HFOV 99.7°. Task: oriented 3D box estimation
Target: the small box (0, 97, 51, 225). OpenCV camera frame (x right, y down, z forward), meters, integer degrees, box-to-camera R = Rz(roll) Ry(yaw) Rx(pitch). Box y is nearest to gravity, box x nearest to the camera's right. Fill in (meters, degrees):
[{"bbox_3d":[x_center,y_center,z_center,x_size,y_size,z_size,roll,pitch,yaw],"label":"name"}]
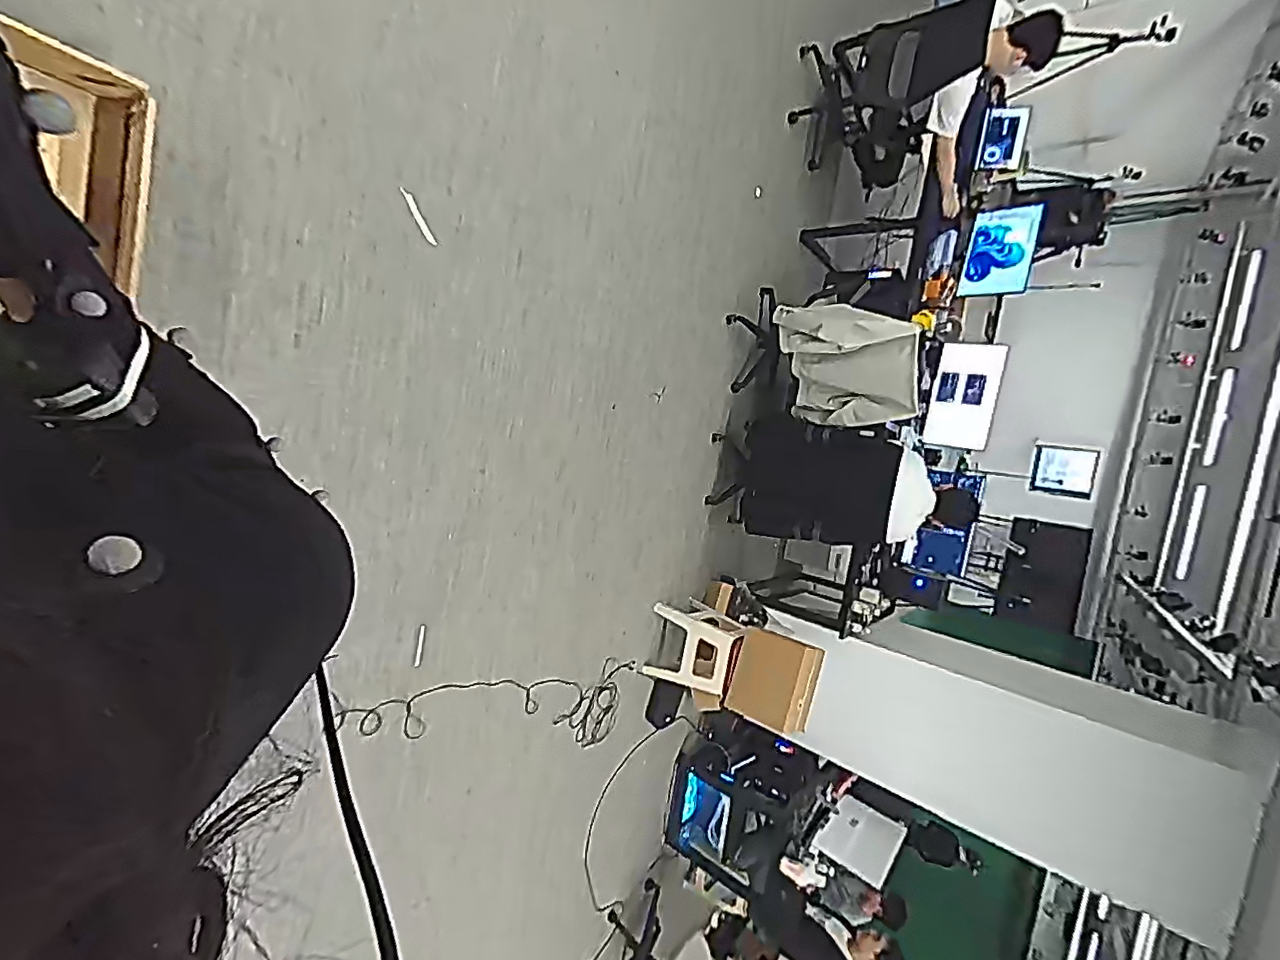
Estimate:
[{"bbox_3d":[-1.068,-0.520,0.848,0.179,0.176,0.168,7,96,-51],"label":"small box"}]
